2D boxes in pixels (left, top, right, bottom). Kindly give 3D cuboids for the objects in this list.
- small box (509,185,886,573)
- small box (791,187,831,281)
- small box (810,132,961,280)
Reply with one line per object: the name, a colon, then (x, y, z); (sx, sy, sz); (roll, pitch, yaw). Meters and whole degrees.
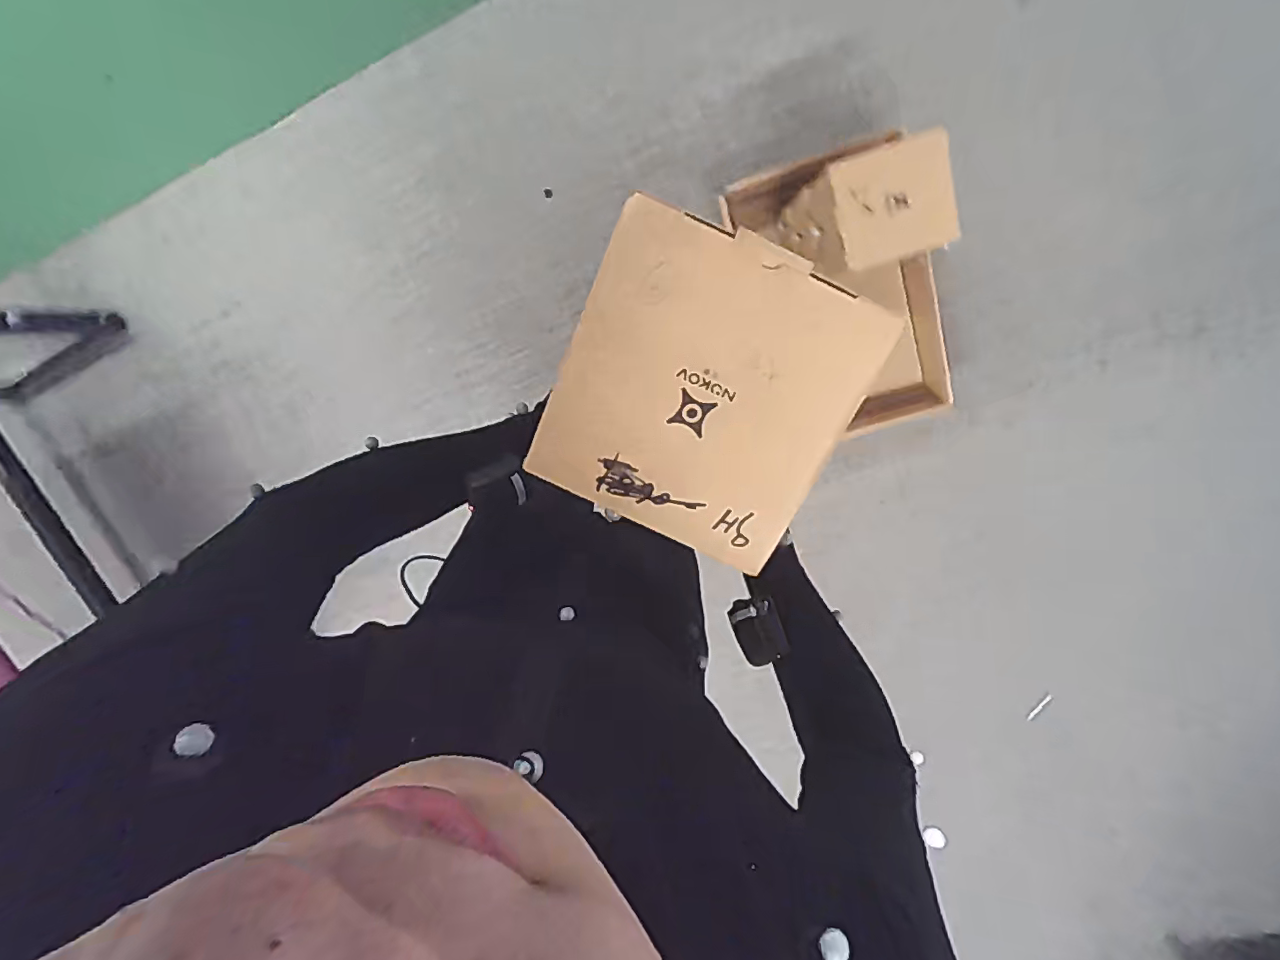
small box: (0.033, -0.071, 0.386); (0.168, 0.176, 0.179); (24, 108, -1)
small box: (0.415, -0.497, 1.071); (0.179, 0.176, 0.168); (-14, 105, 10)
small box: (0.405, -0.449, 0.913); (0.179, 0.176, 0.168); (-14, 104, 10)
